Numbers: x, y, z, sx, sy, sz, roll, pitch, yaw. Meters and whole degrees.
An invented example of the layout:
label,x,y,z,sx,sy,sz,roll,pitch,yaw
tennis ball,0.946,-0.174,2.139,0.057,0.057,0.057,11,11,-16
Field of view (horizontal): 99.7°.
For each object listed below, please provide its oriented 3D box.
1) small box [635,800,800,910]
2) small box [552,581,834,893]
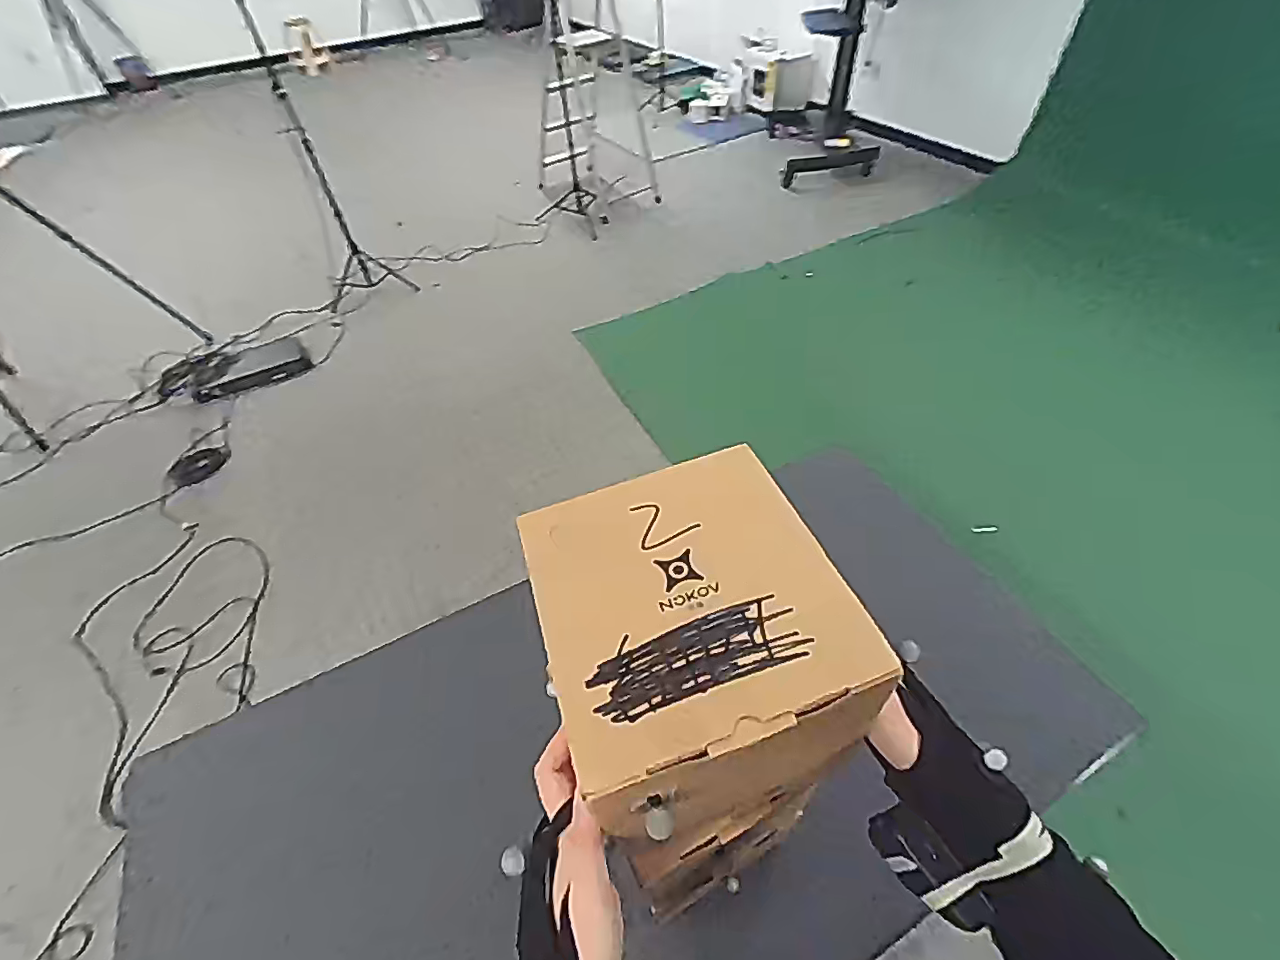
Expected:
label,x,y,z,sx,sy,sz,roll,pitch,yaw
small box,0.047,0.341,0.607,0.168,0.176,0.179,-24,52,-16
small box,0.037,0.231,0.488,0.168,0.176,0.179,-24,52,-17
